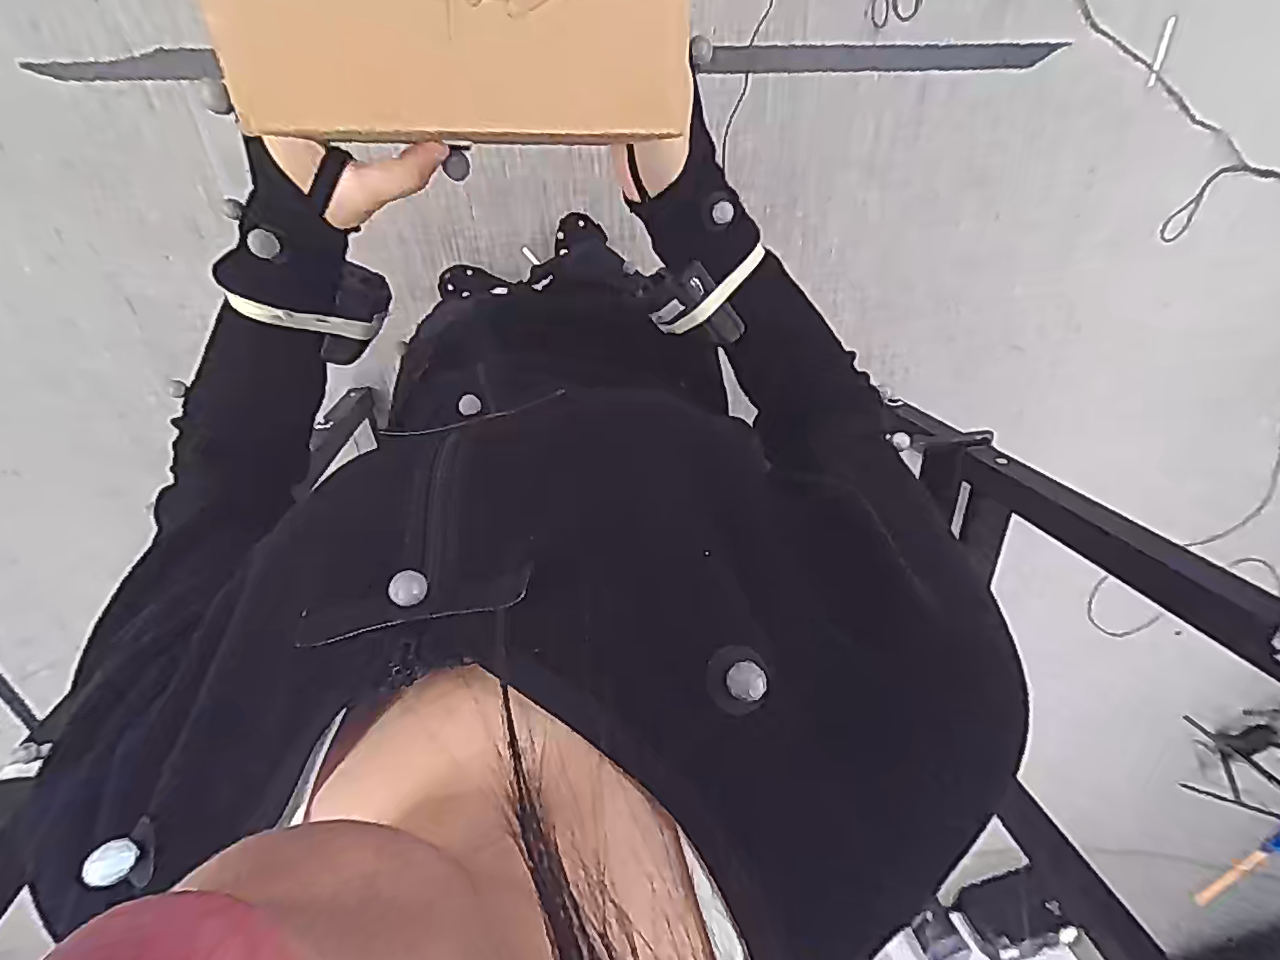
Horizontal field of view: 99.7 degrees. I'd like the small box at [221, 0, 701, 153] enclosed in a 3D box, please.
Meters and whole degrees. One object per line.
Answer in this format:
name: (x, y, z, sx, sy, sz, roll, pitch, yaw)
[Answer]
small box: (-0.078, -0.247, 0.232, 0.168, 0.176, 0.179, -8, 122, -14)
